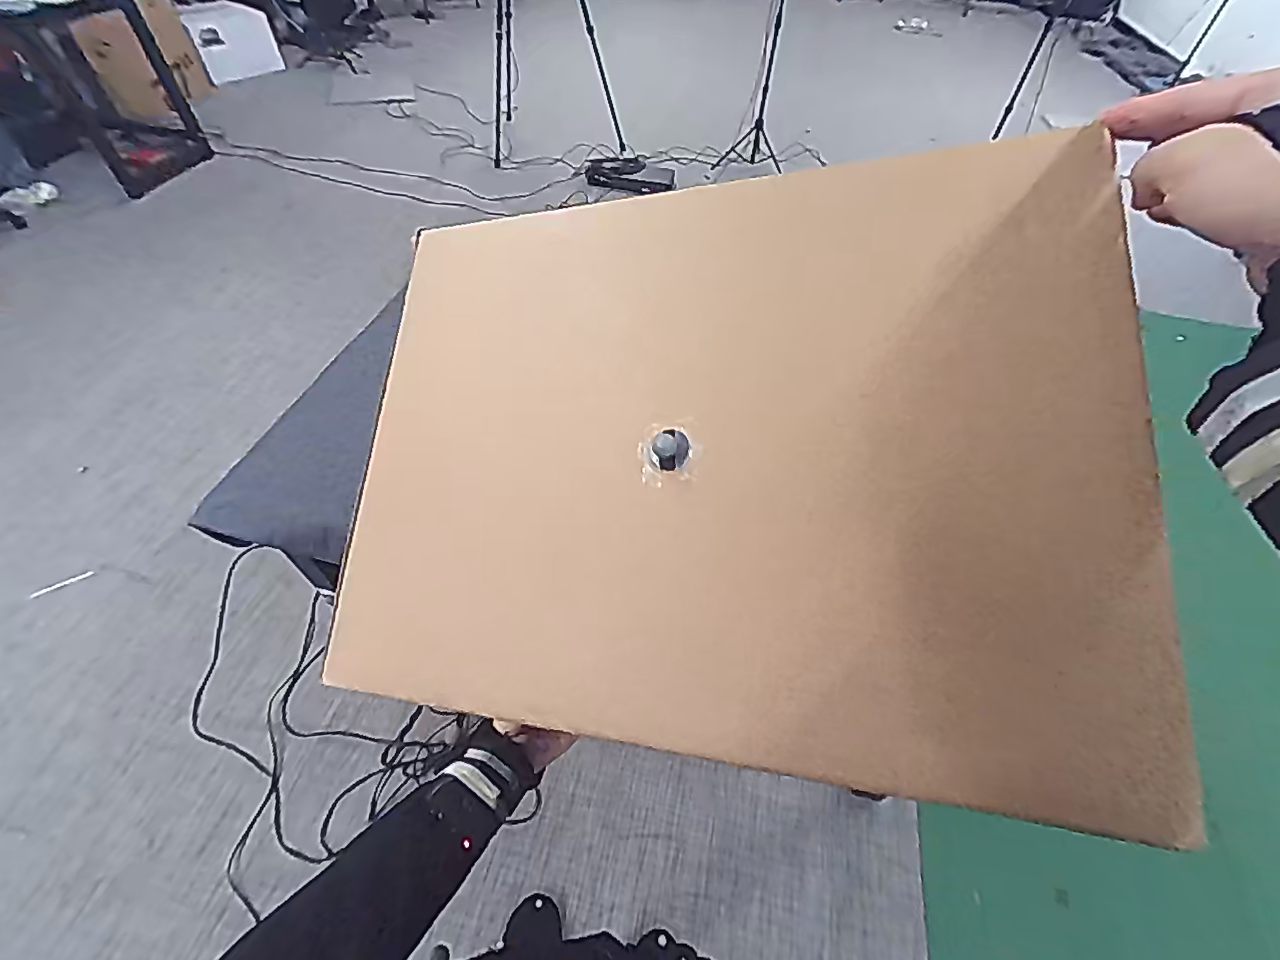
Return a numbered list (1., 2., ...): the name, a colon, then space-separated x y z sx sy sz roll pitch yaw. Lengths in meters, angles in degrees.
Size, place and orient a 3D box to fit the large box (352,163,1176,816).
1. large box: 0.068 0.022 0.430 0.408 0.320 0.320 0 75 18
